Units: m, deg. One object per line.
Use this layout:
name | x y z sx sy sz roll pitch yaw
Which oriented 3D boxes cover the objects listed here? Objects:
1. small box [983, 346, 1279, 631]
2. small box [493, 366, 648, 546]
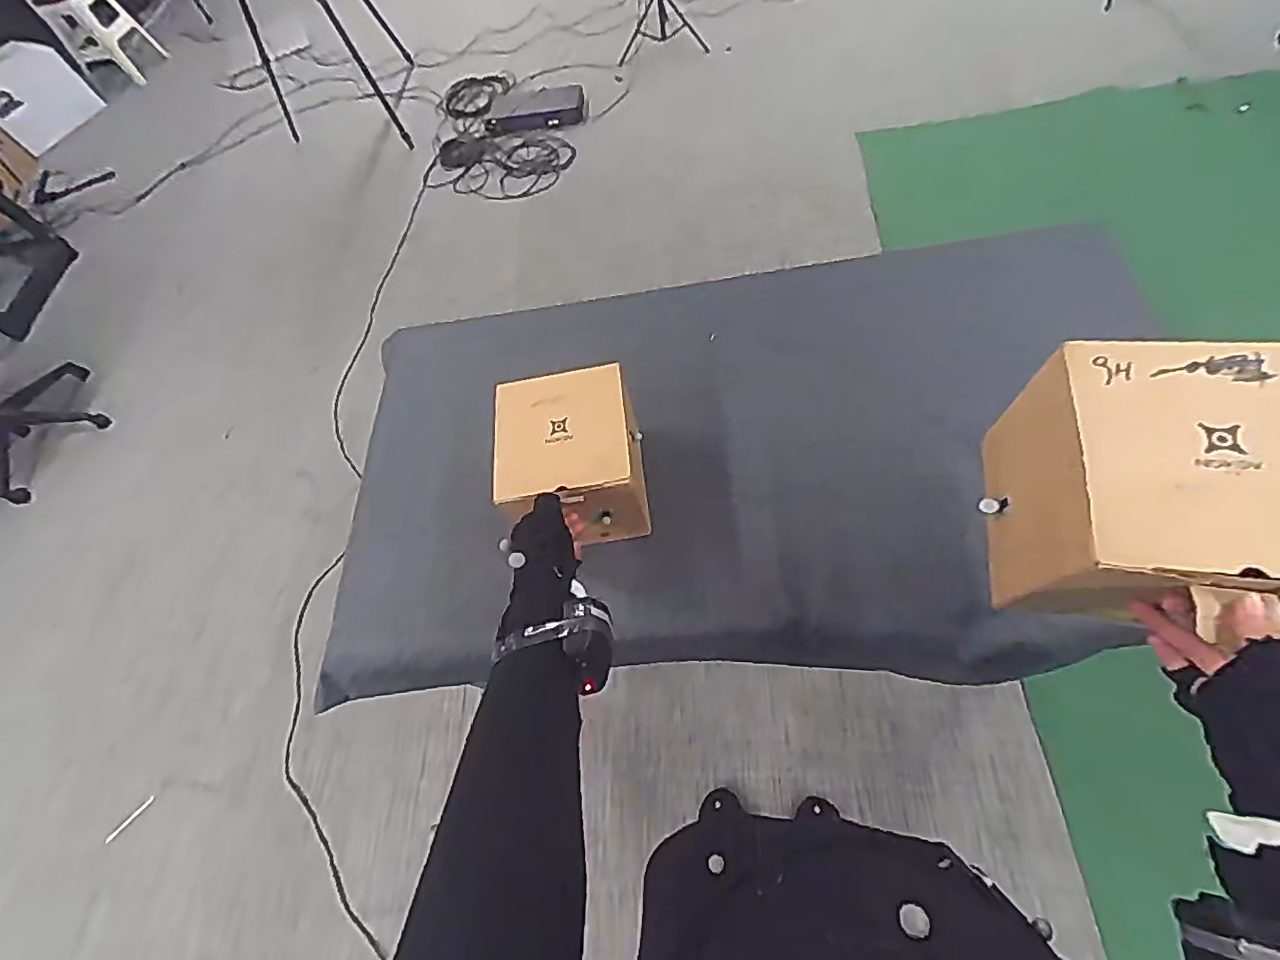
small box | 0.396 0.016 0.428 0.168 0.176 0.179 5 69 13
small box | -0.086 -0.021 0.725 0.168 0.176 0.179 -9 60 3
